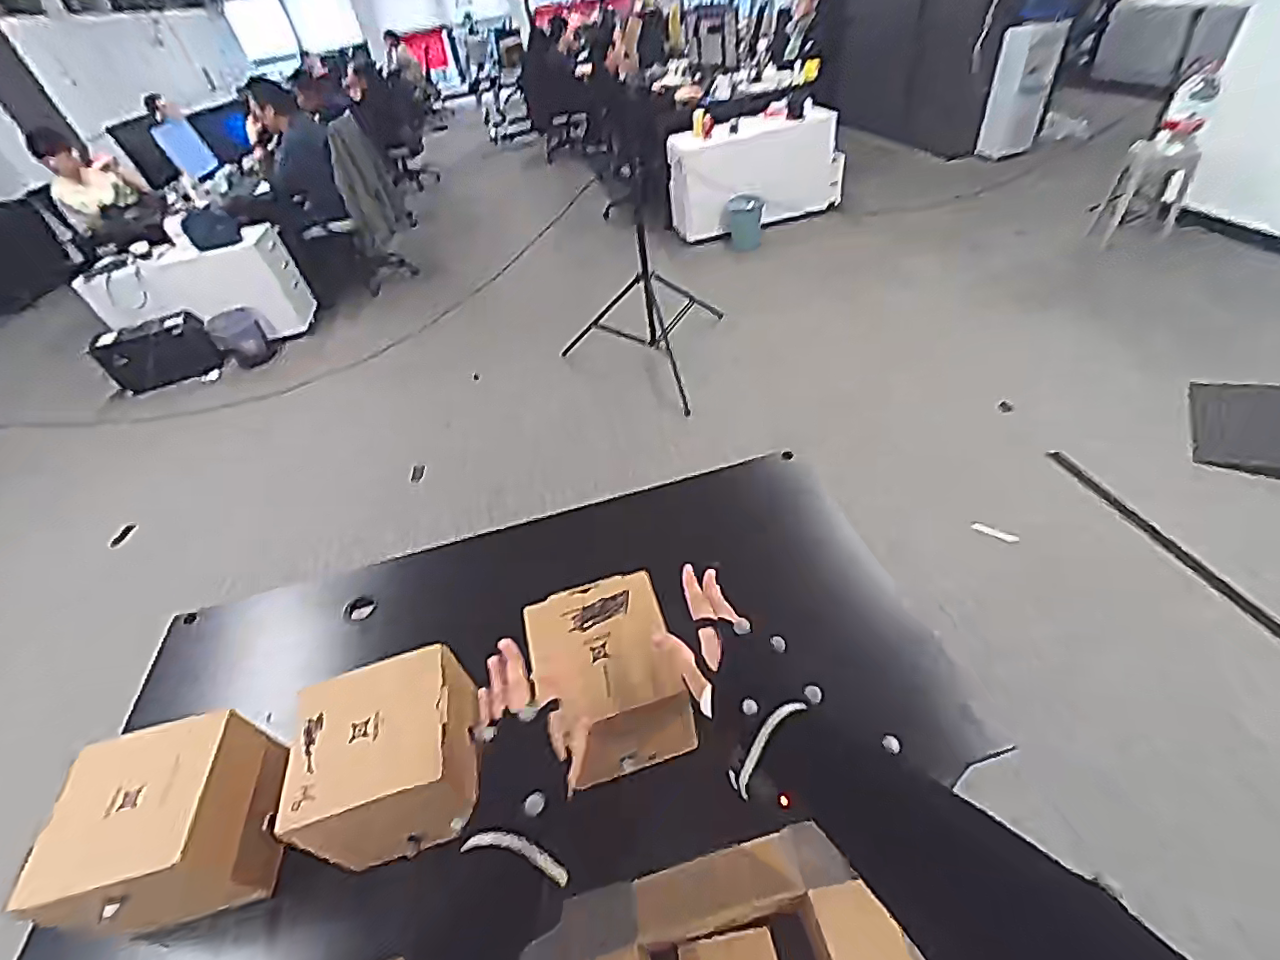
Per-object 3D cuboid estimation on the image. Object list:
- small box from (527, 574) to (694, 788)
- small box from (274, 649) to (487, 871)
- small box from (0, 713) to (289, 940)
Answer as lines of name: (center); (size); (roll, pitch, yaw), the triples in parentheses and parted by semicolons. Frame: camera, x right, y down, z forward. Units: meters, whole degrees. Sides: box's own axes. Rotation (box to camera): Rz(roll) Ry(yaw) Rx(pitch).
small box: (-0.037, 0.257, 0.695); (0.168, 0.176, 0.179); (-17, 44, -6)
small box: (-0.294, 0.340, 0.659); (0.179, 0.176, 0.168); (-16, 43, -7)
small box: (-0.547, 0.408, 0.636); (0.179, 0.176, 0.168); (-13, 43, -4)
